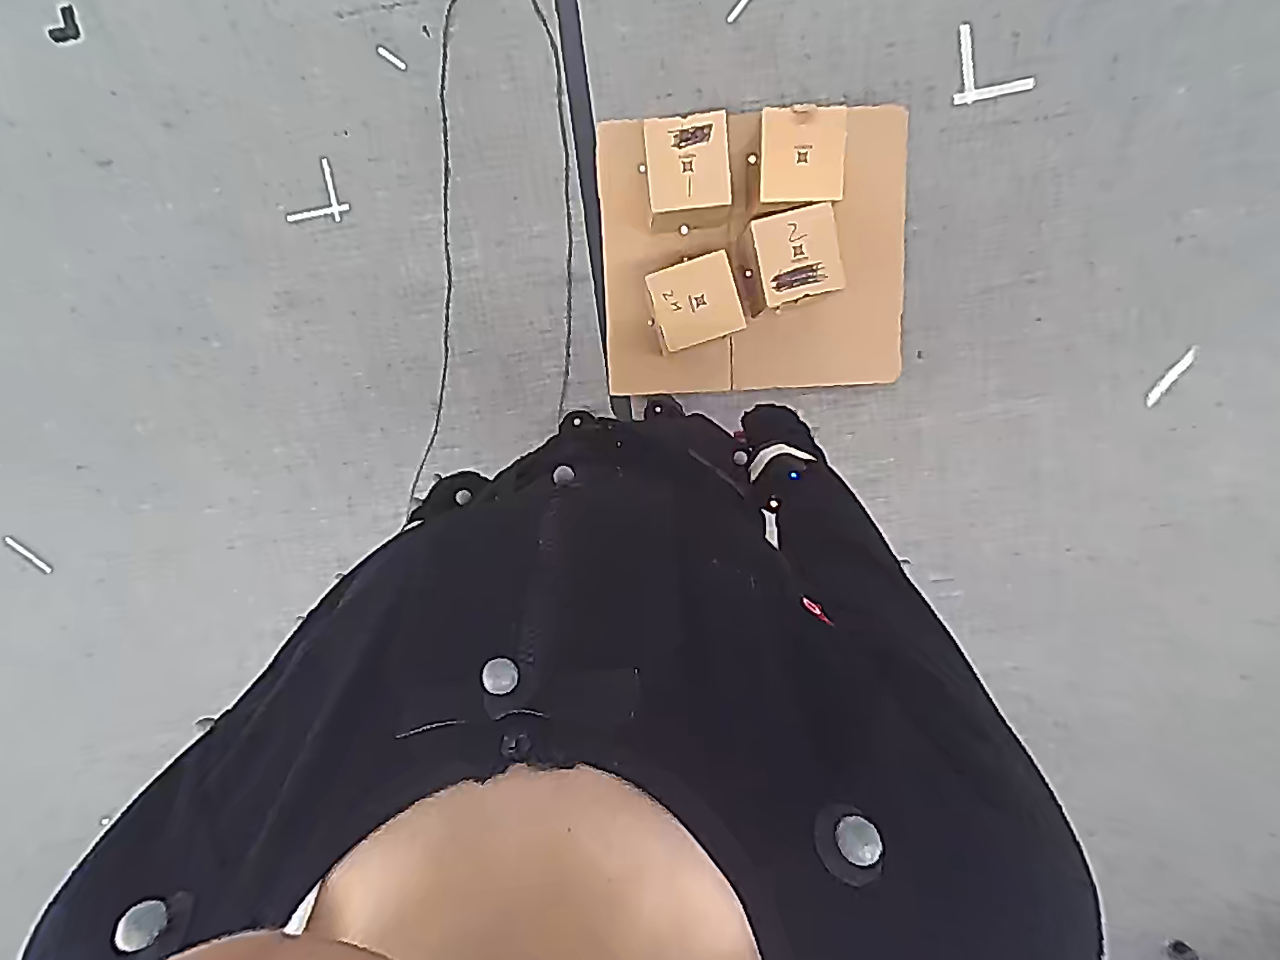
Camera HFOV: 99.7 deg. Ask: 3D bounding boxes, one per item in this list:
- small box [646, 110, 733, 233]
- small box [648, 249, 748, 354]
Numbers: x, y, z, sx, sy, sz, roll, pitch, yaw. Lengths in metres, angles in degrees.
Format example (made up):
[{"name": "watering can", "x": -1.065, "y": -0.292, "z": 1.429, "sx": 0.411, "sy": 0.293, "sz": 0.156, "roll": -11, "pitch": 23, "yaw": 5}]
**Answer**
[{"name": "small box", "x": 0.100, "y": -0.650, "z": 1.157, "sx": 0.168, "sy": 0.176, "sz": 0.179, "roll": -5, "pitch": 100, "yaw": 1}, {"name": "small box", "x": 0.121, "y": -0.387, "z": 1.200, "sx": 0.179, "sy": 0.176, "sz": 0.168, "roll": -17, "pitch": 98, "yaw": 4}]
